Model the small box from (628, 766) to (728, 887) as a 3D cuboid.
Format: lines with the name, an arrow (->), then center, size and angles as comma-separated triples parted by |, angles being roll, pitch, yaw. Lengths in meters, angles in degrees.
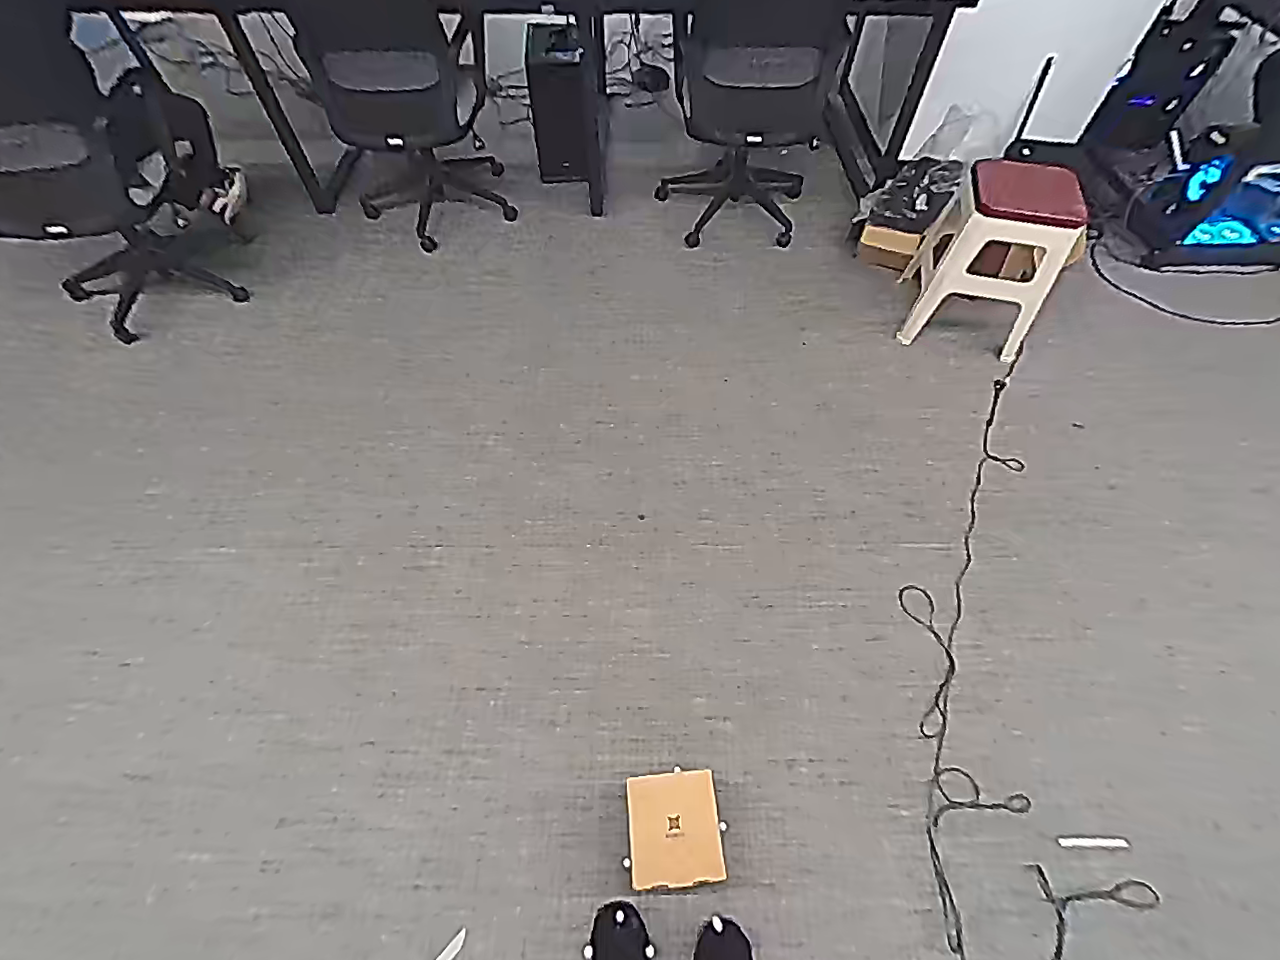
small box -> 0.064, 0.669, 1.050 | 0.168, 0.176, 0.179 | -5, 58, -3
